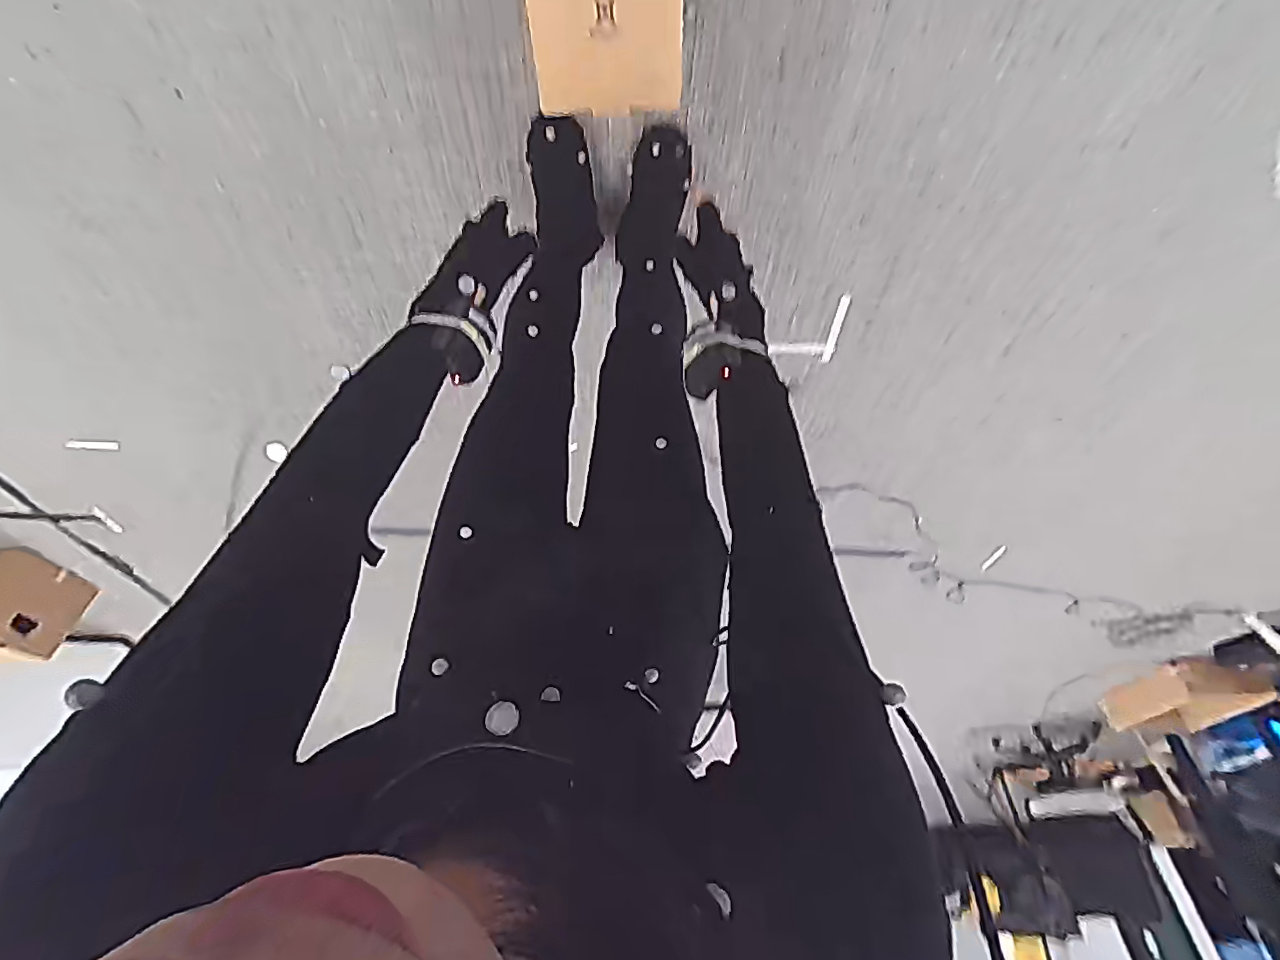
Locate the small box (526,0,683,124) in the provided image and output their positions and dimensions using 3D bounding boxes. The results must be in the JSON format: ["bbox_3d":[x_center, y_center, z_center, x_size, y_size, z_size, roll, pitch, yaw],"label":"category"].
[{"bbox_3d":[-0.035,-0.540,0.626,0.168,0.176,0.179,-1,138,1],"label":"small box"}]
